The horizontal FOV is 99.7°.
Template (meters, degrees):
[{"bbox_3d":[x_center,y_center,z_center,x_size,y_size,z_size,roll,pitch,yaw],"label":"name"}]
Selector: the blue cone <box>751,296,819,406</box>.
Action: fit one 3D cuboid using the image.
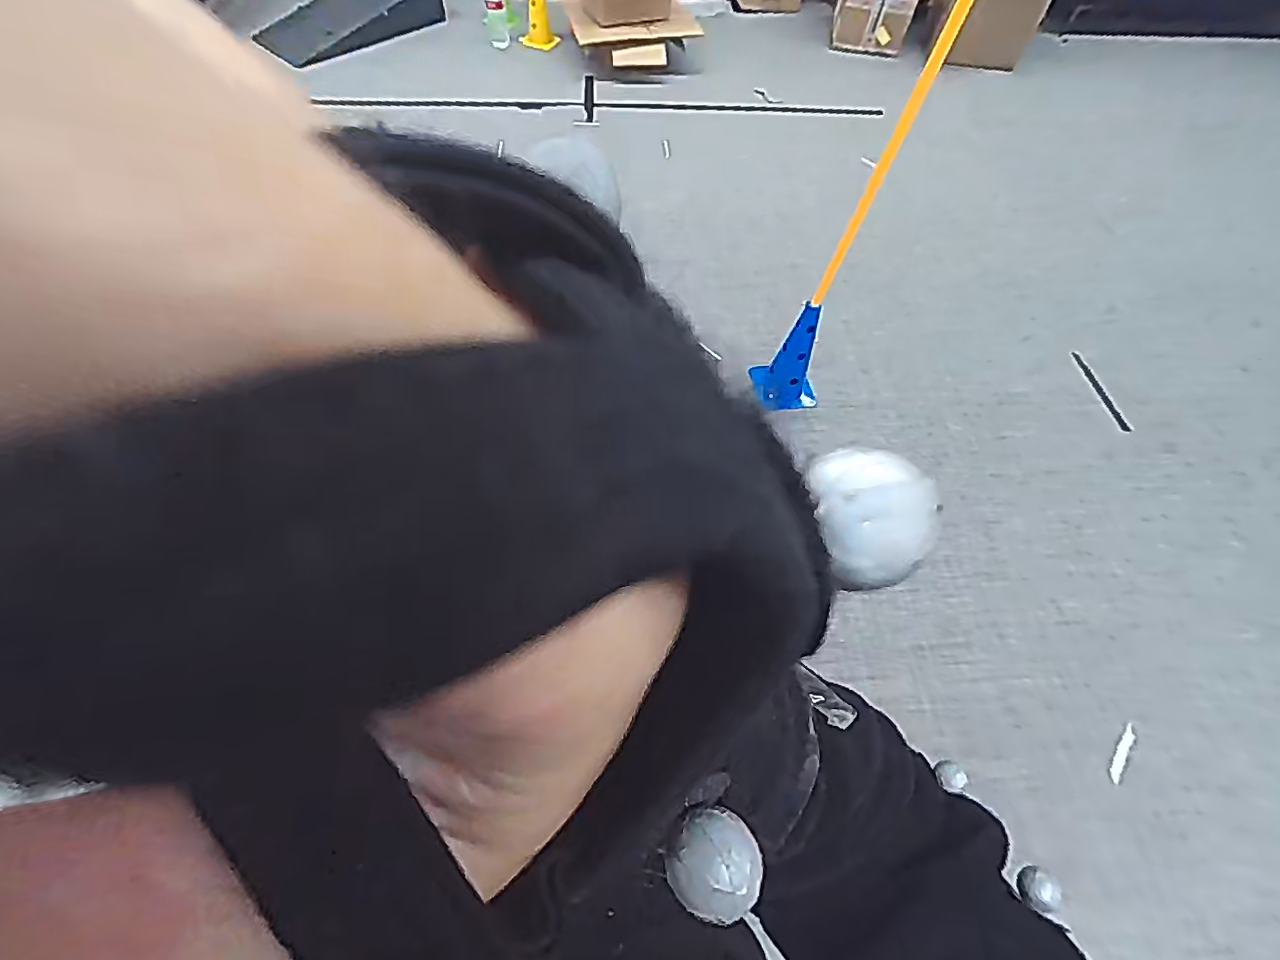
[{"bbox_3d":[0.498,-0.416,1.724,0.193,0.380,0.192,-4,58,-6],"label":"blue cone"}]
